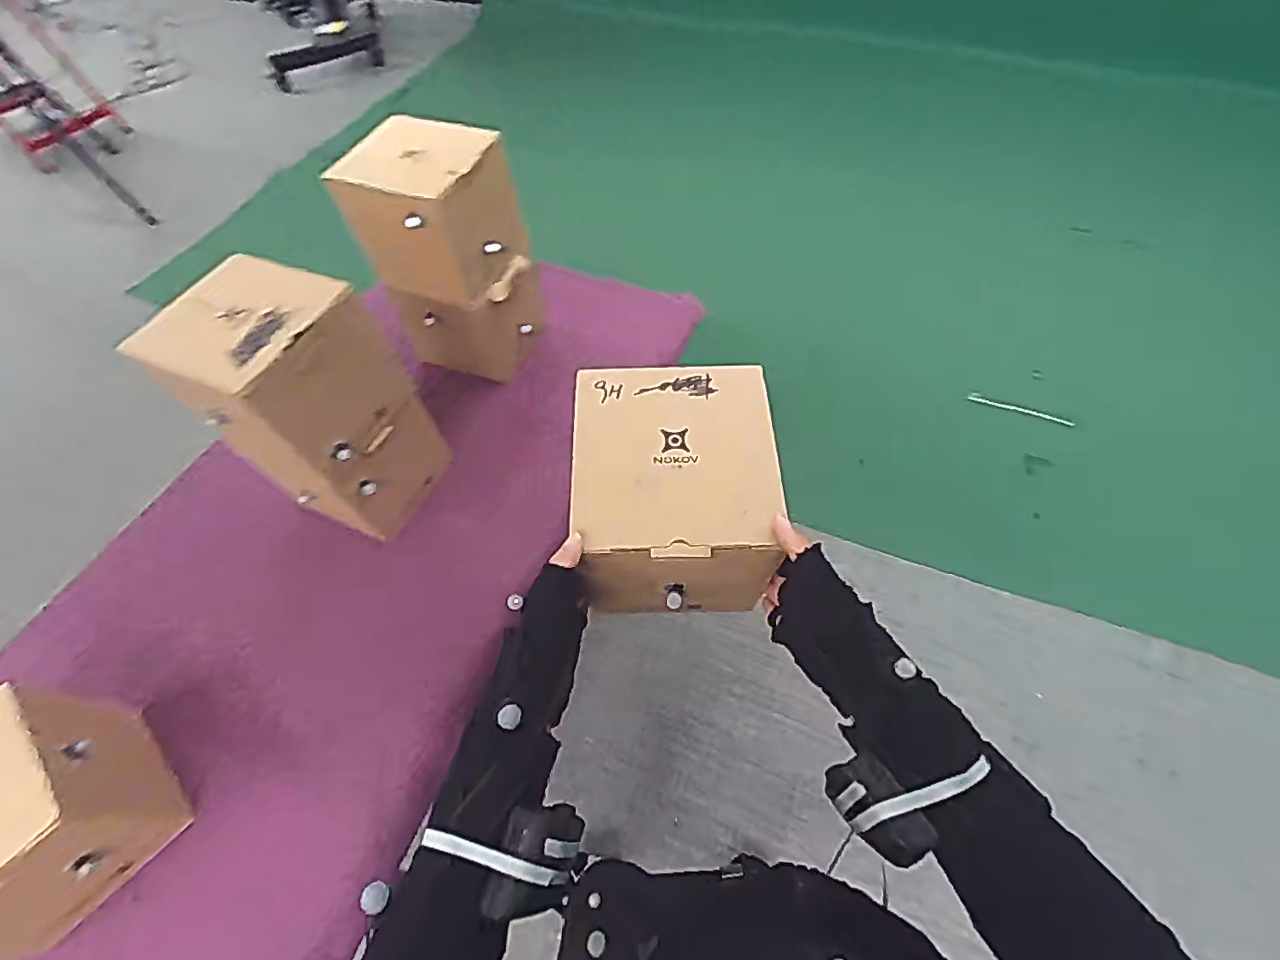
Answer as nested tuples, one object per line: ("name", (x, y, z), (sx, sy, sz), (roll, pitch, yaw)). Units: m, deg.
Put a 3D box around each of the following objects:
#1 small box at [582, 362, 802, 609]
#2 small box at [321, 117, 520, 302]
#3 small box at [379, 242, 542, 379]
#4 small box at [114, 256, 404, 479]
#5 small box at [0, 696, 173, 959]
("small box", (0.039, 0.016, 0.505), (0.168, 0.176, 0.179), (-4, 61, 0))
("small box", (-0.300, -0.384, 0.779), (0.179, 0.176, 0.168), (17, 61, 12))
("small box", (-0.290, -0.296, 0.916), (0.179, 0.176, 0.168), (17, 62, 12))
("small box", (-0.415, -0.122, 0.626), (0.179, 0.176, 0.168), (18, 61, 15))
("small box", (-0.623, 0.341, 0.530), (0.179, 0.176, 0.168), (37, 67, 22))
